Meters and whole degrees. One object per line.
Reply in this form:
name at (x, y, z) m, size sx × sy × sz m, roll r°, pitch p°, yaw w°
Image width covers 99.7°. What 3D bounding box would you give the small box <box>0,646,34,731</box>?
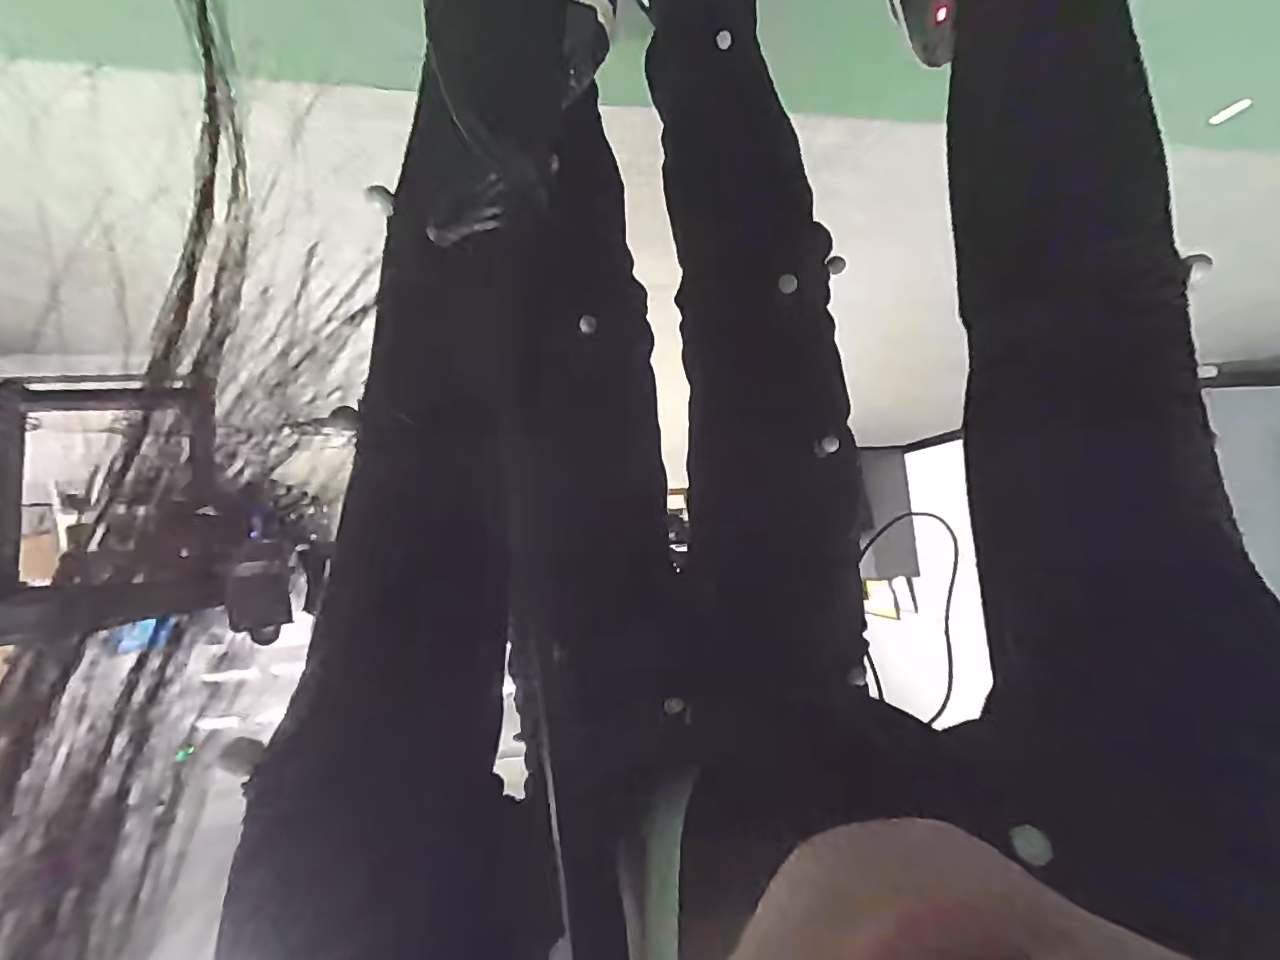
small box at (-1.421, 0.443, 1.113) m, size 0.179 × 0.176 × 0.168 m, roll -2°, pitch 173°, yaw -11°
